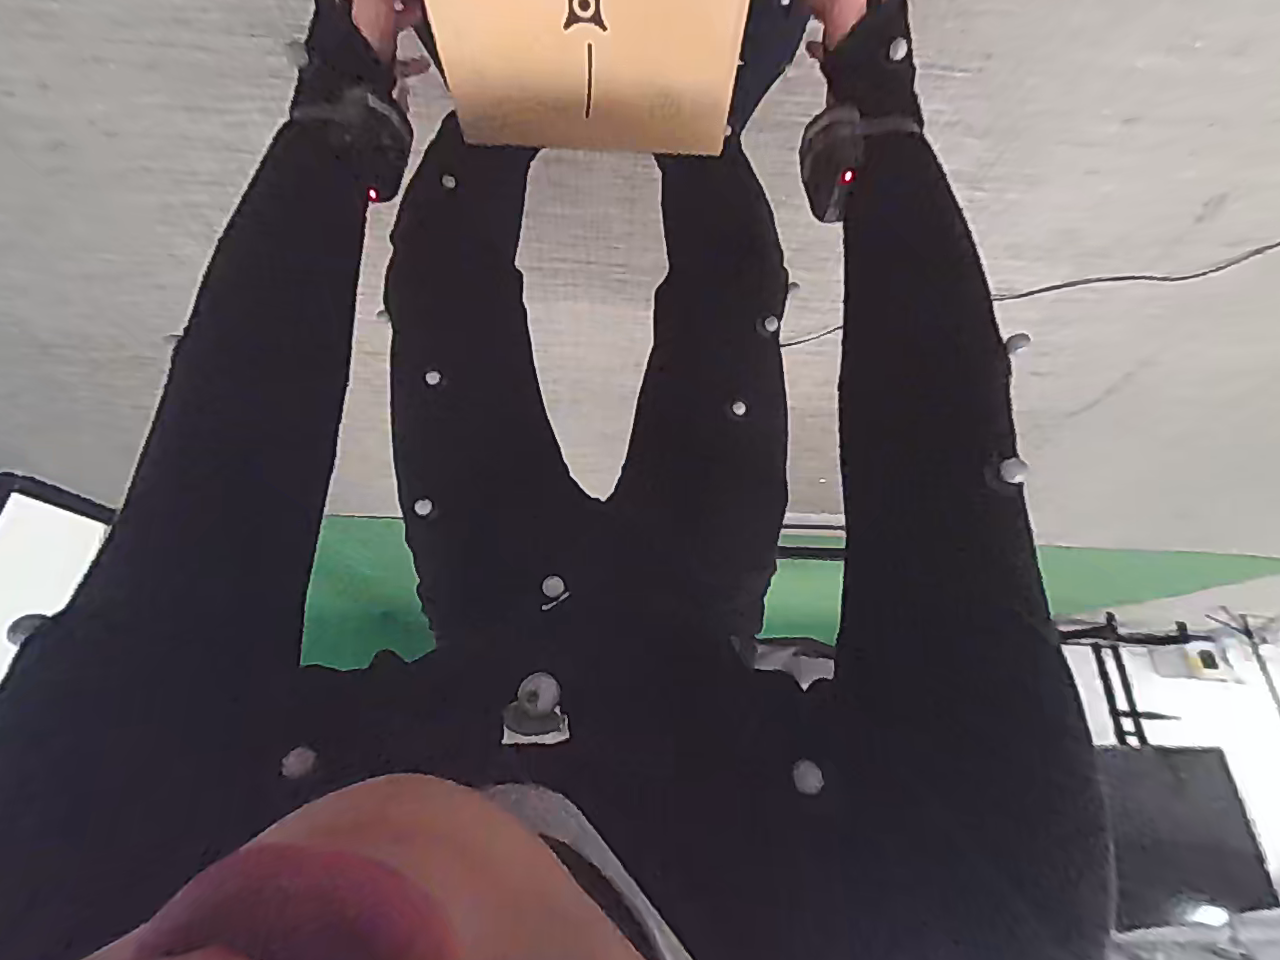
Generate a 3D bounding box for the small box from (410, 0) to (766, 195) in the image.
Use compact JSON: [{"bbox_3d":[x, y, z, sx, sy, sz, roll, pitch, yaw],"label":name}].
[{"bbox_3d":[-0.023,-0.289,0.288,0.168,0.176,0.179,2,160,-1],"label":"small box"}]
